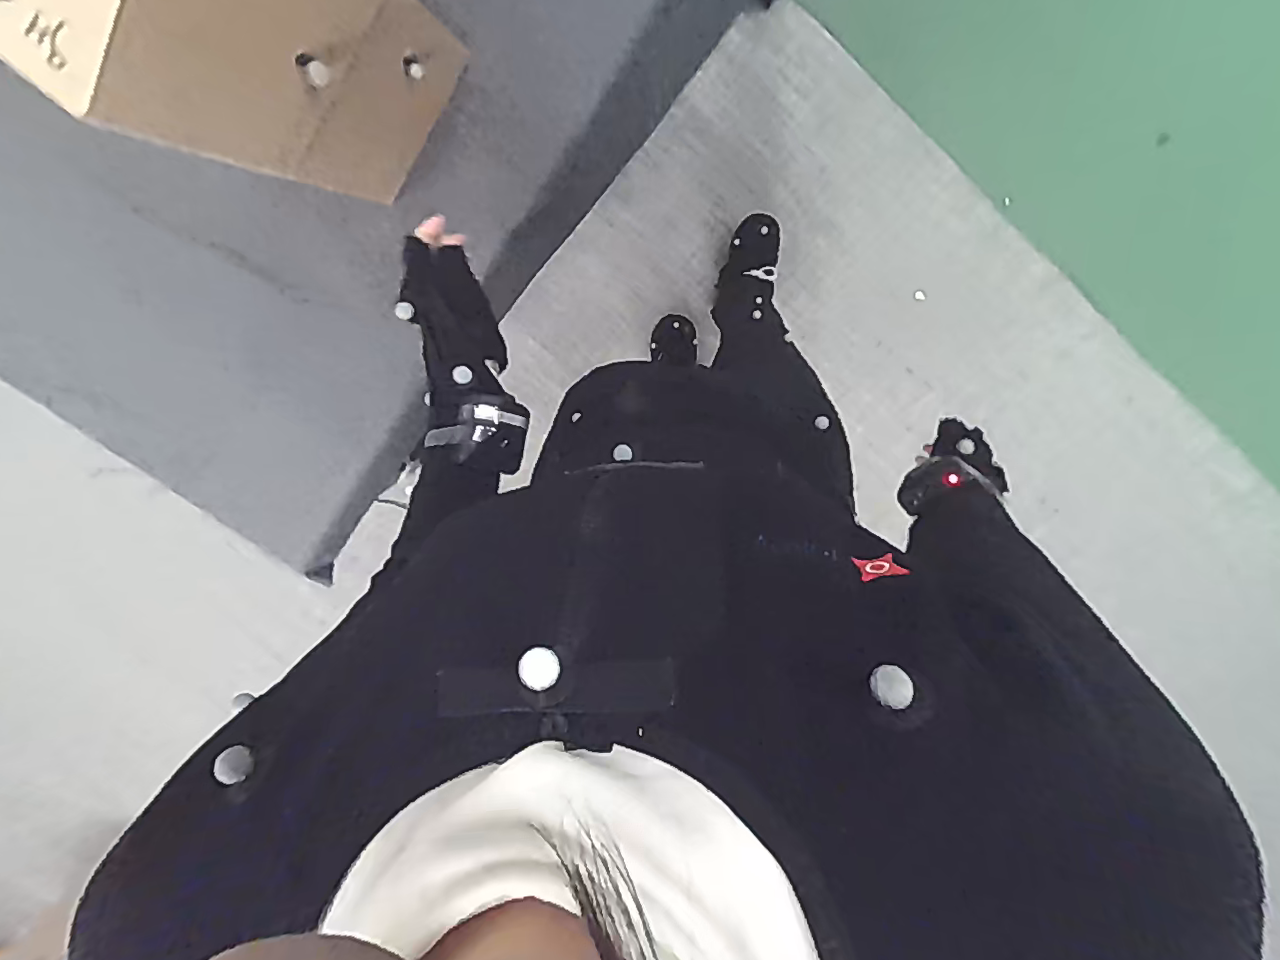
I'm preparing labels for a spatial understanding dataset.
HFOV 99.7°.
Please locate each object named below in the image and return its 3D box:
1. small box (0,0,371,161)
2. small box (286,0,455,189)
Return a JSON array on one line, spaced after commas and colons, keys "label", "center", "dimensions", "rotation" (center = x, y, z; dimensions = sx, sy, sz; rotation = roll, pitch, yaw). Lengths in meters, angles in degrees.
[{"label": "small box", "center": [-0.306, -0.344, 0.338], "dimensions": [0.168, 0.176, 0.179], "rotation": [39, 108, -8]}, {"label": "small box", "center": [-0.295, -0.401, 0.491], "dimensions": [0.168, 0.176, 0.179], "rotation": [37, 110, -8]}]
